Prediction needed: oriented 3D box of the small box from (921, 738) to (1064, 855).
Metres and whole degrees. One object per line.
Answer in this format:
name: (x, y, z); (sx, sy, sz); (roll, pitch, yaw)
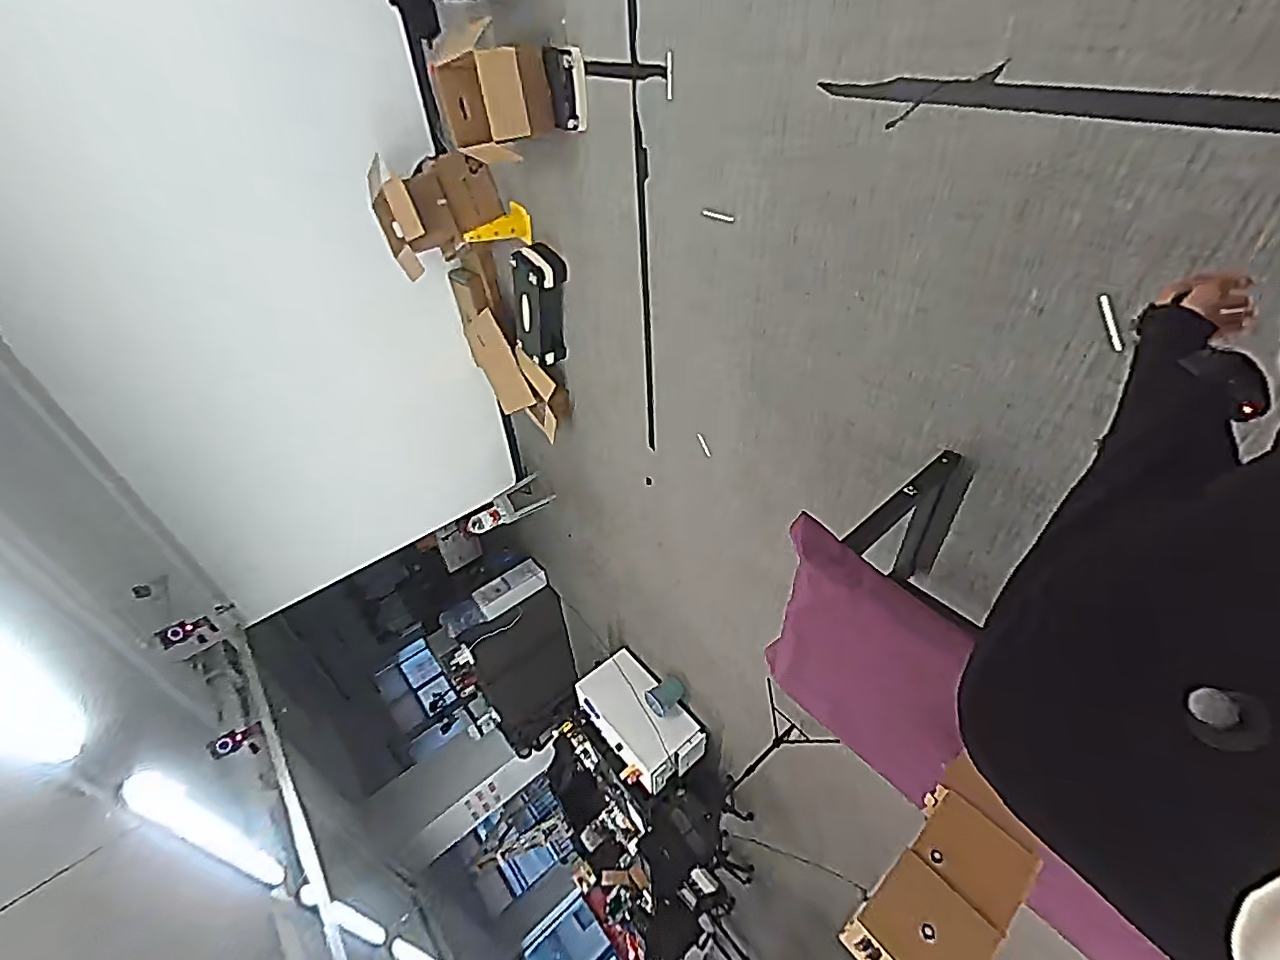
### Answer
small box: (0.741, 0.684, 1.147); (0.179, 0.176, 0.168); (36, 146, 39)

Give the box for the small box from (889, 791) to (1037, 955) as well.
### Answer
small box: (0.627, 0.758, 1.055); (0.179, 0.176, 0.168); (36, 145, 39)
